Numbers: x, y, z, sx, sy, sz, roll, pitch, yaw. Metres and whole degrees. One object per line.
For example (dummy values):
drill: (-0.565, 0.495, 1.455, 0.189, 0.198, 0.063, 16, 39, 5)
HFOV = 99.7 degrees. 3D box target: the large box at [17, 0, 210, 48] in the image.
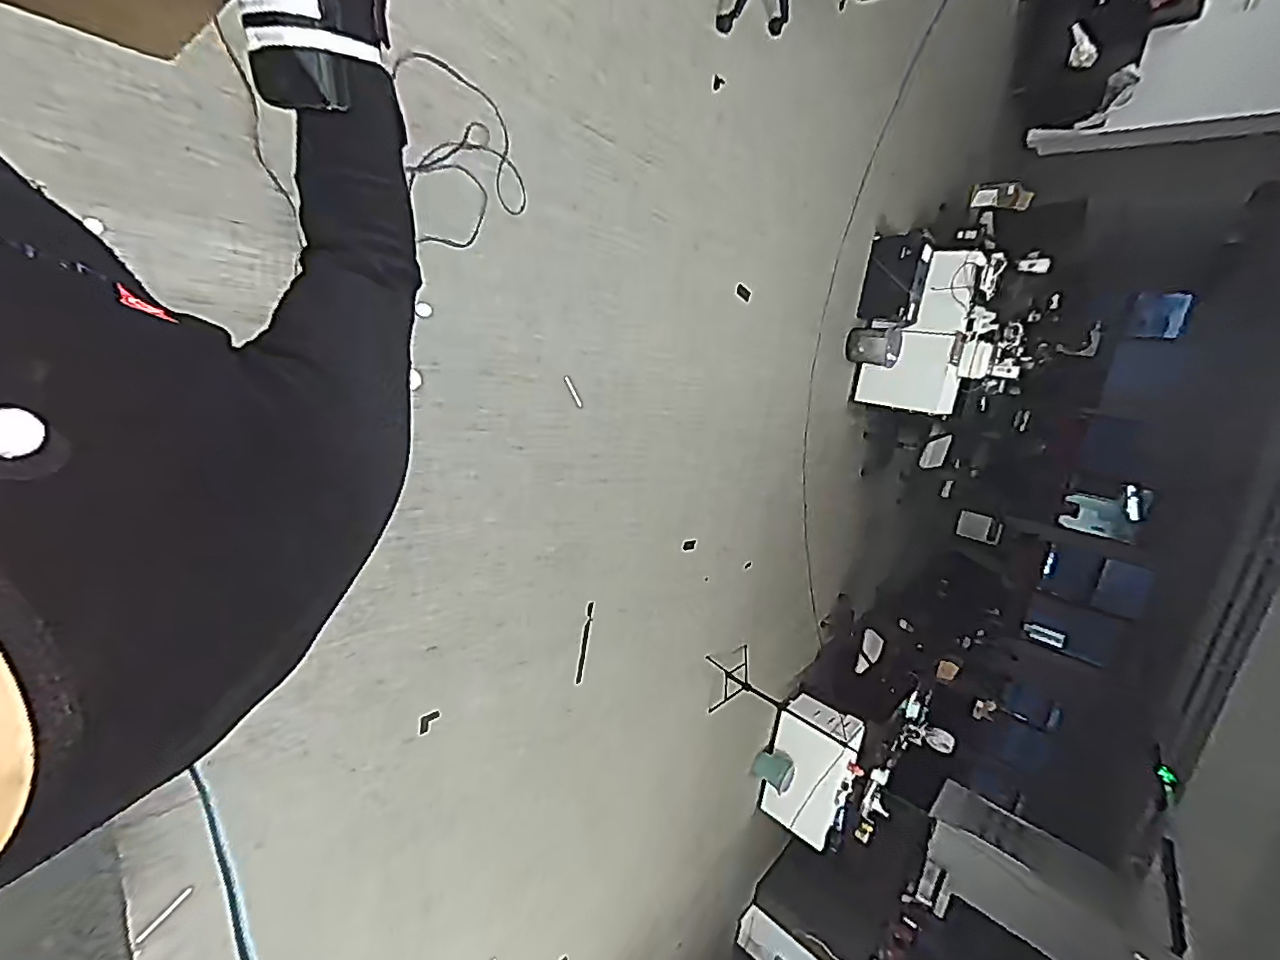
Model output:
large box: (-0.448, -0.480, 0.230, 0.408, 0.320, 0.320, -10, 114, -48)
